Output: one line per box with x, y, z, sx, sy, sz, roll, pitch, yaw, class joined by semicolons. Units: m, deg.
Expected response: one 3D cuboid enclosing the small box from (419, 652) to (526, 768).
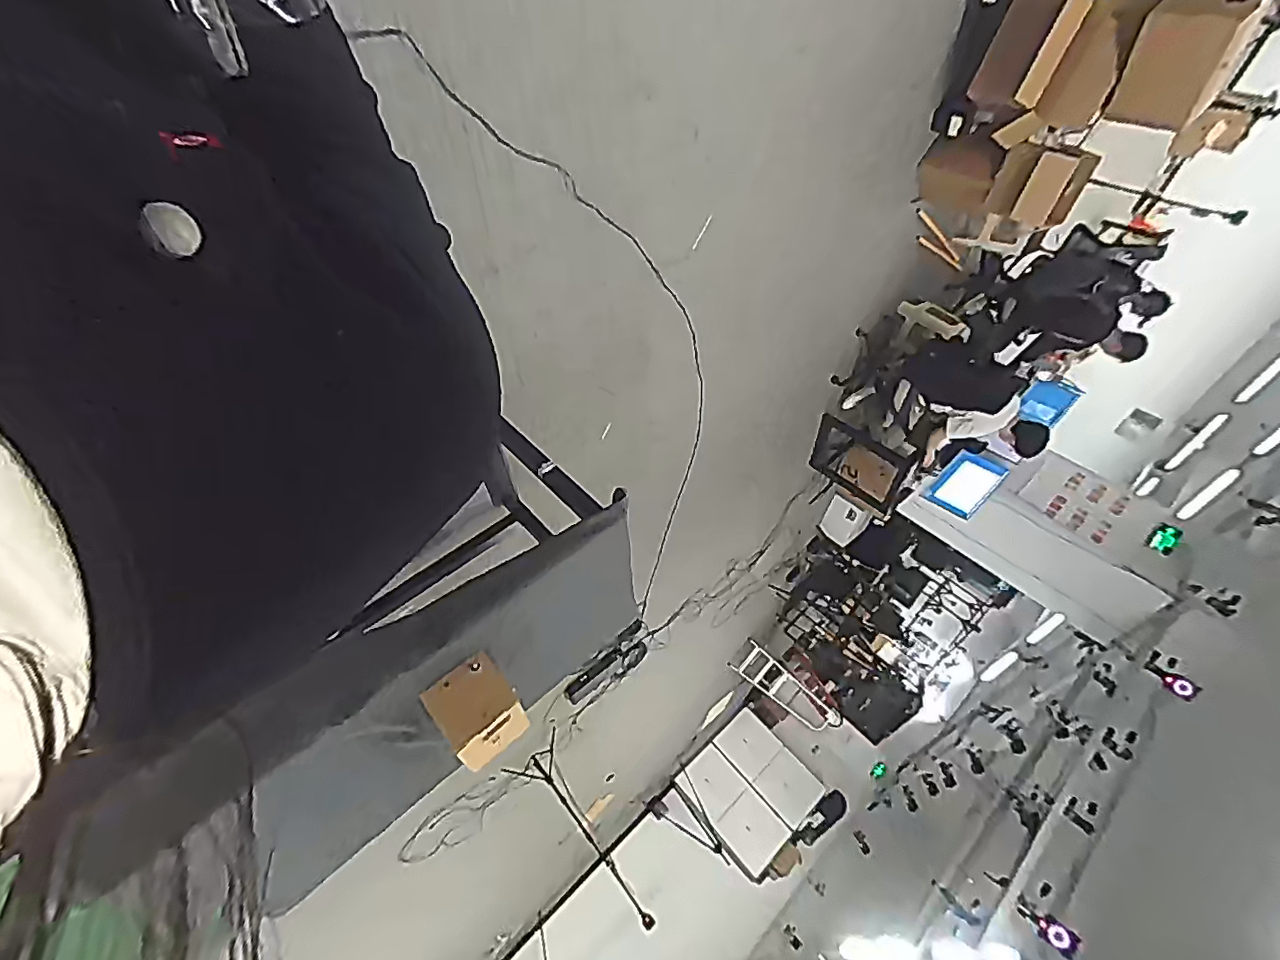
-0.400;0.543;1.292;0.168;0.176;0.179;-34;148;-26;small box
